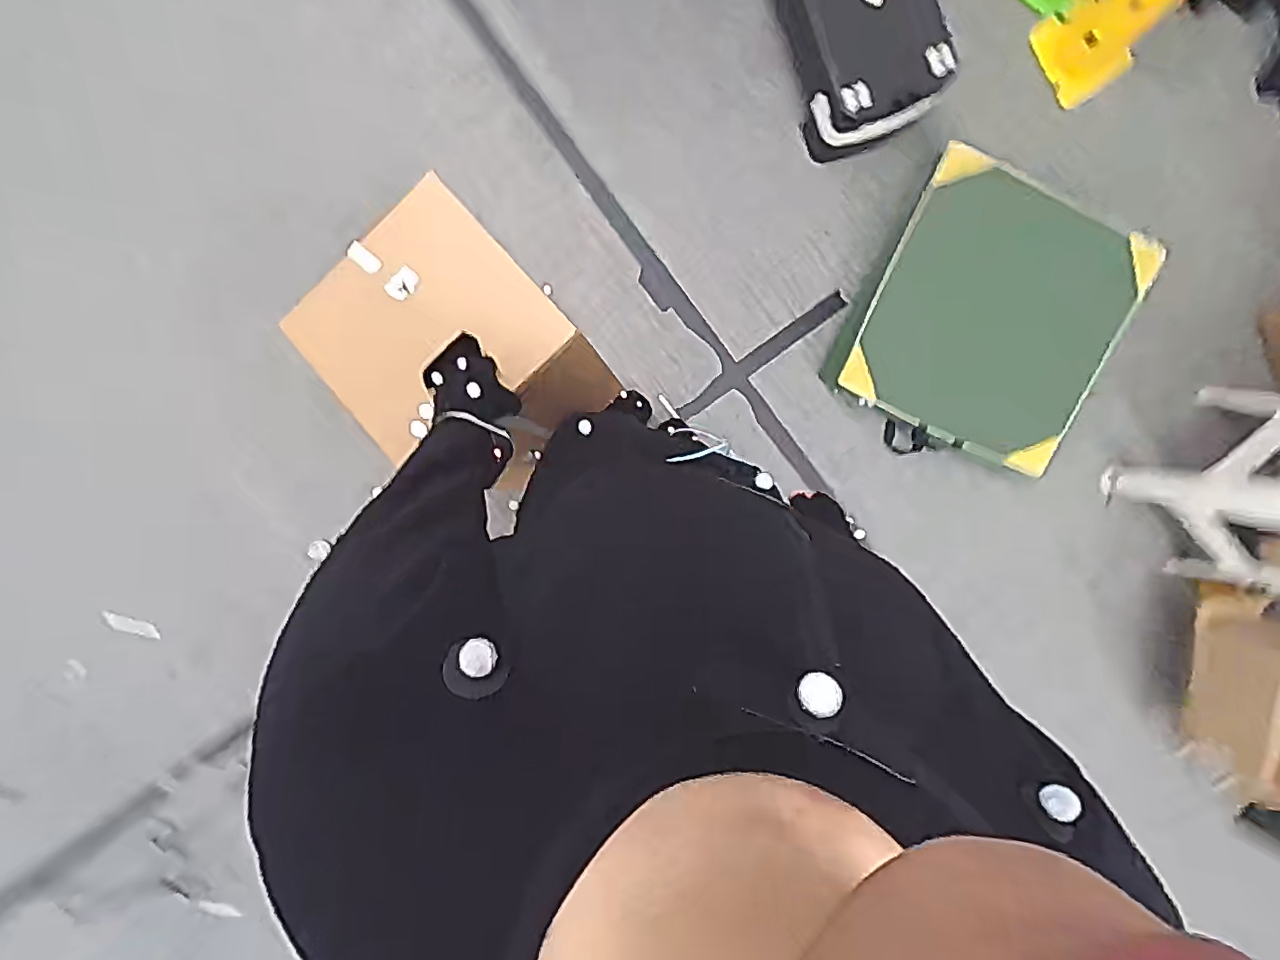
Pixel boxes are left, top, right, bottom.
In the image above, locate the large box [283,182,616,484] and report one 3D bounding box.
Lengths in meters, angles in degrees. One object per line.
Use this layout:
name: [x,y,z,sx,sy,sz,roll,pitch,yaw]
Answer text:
large box: [-0.285,-0.212,0.941,0.320,0.408,0.320,-42,86,6]
